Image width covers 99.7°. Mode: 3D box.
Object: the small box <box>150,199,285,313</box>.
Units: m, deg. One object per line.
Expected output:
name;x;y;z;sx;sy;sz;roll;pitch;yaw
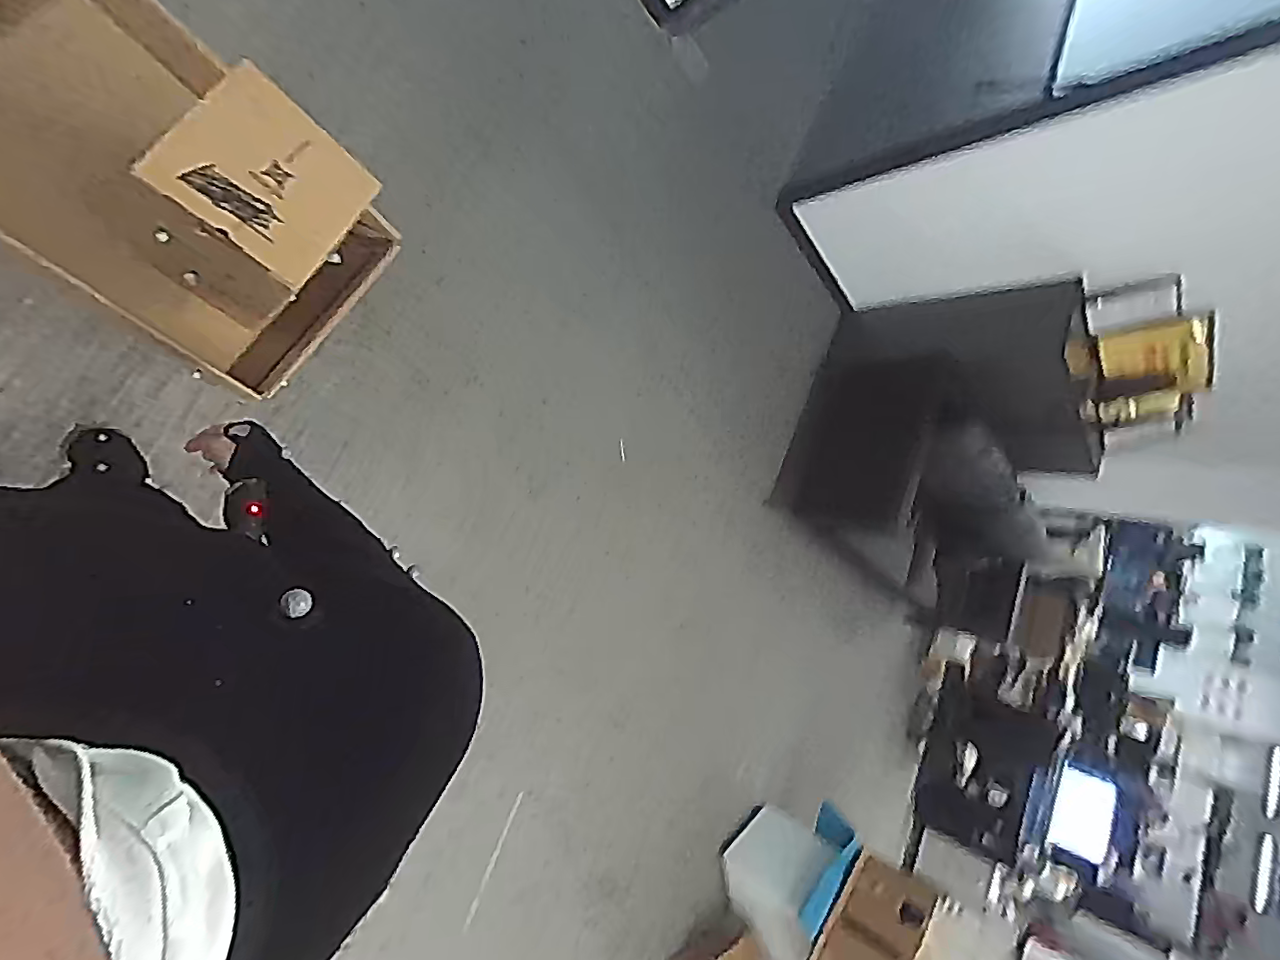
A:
small box;-0.556;-0.366;0.776;0.168;0.176;0.179;42;70;-38

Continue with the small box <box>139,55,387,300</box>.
small box;-0.449;-0.344;0.654;0.168;0.176;0.179;41;68;-37

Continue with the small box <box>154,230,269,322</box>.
small box;-0.661;-0.388;0.898;0.168;0.176;0.179;41;69;-37
